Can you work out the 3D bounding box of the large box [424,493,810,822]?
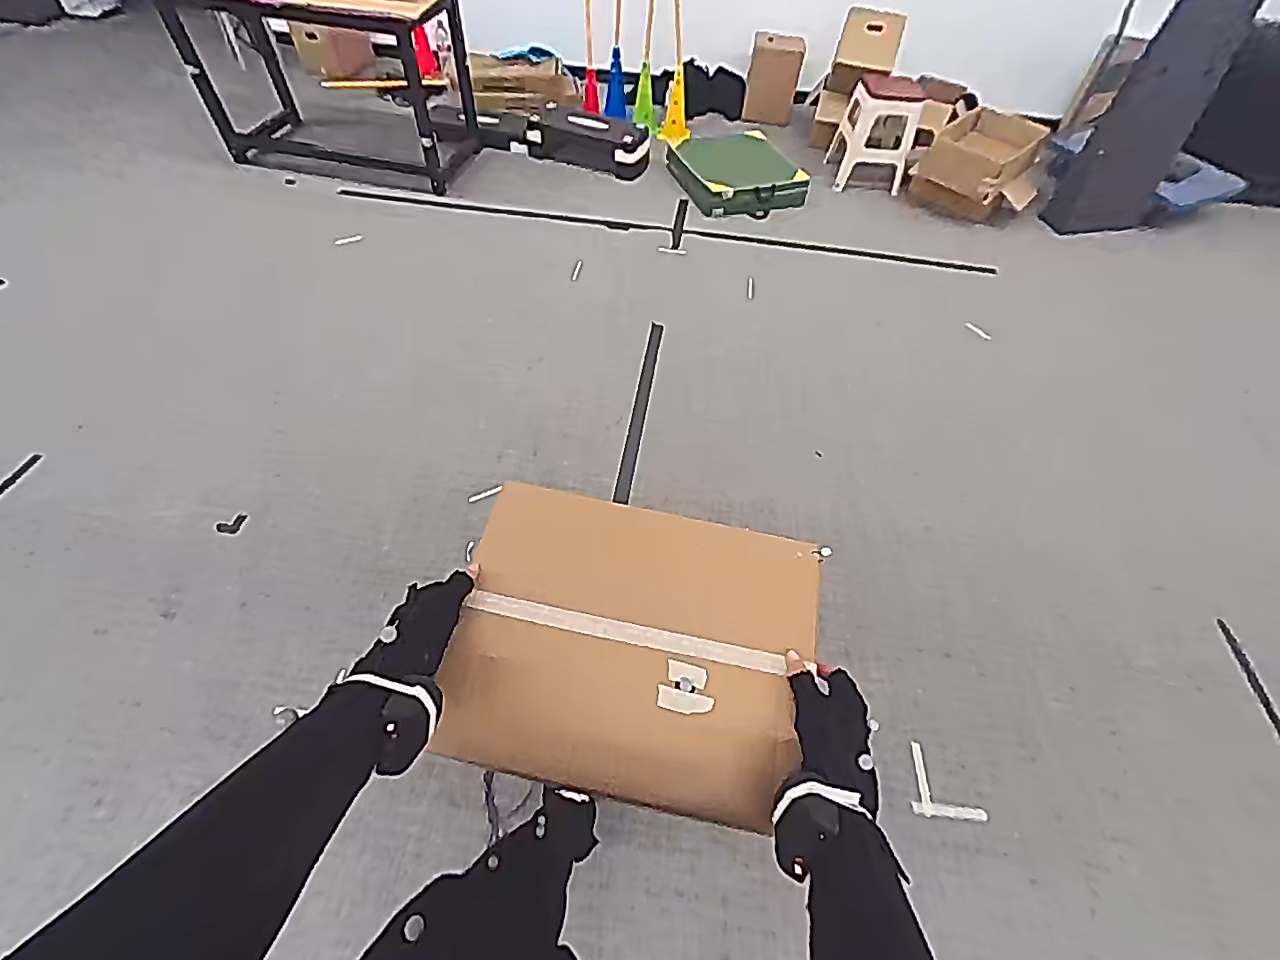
[{"bbox_3d":[-0.014,0.255,0.752,0.408,0.320,0.320,12,60,3],"label":"large box"}]
